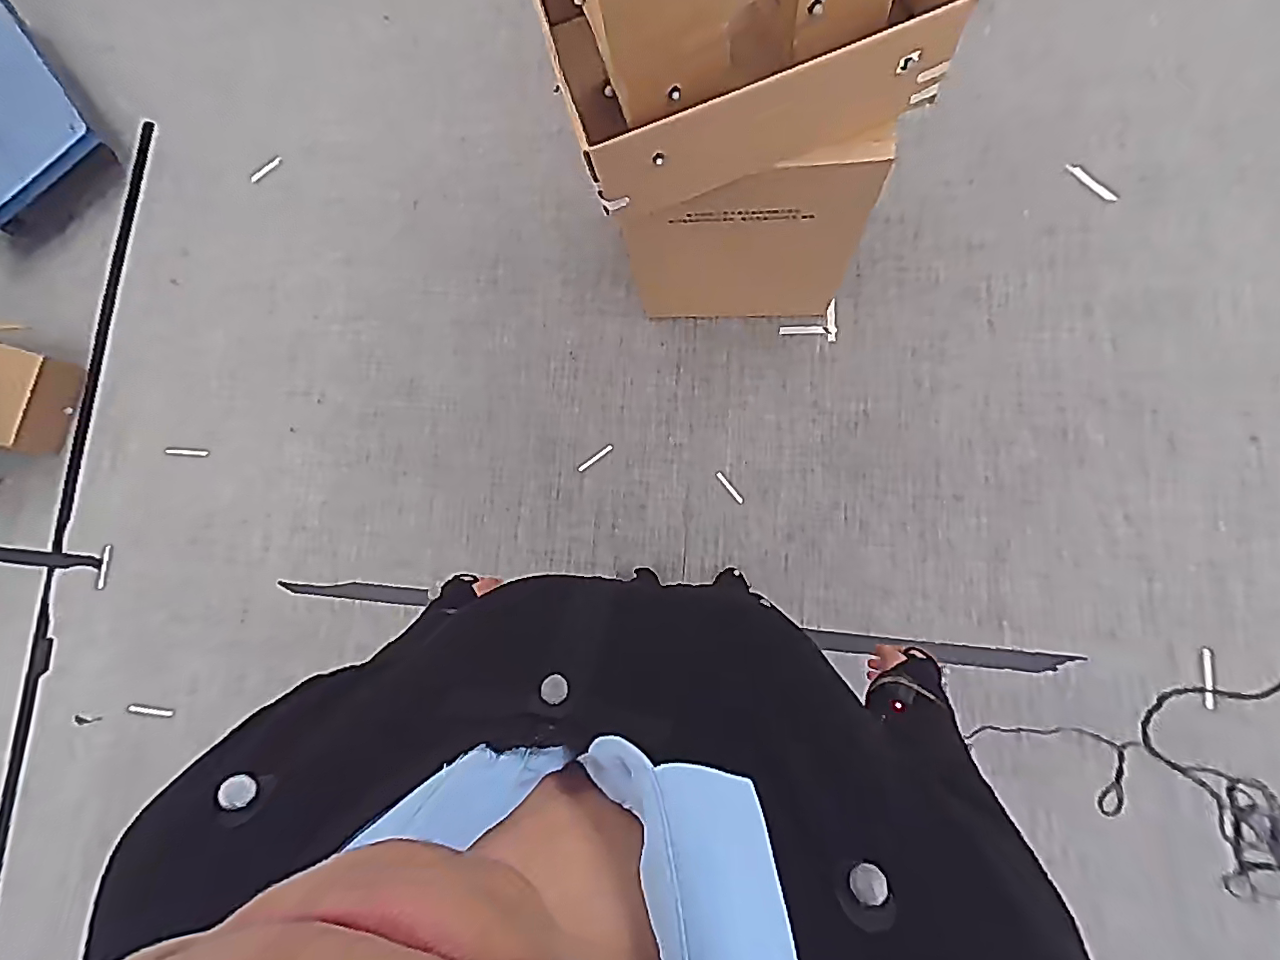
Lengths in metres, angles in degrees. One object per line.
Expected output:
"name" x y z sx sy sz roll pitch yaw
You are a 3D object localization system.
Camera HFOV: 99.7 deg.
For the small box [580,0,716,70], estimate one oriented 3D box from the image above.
"small box" 0.001 -0.719 0.732 0.179 0.176 0.168 -22 80 4
